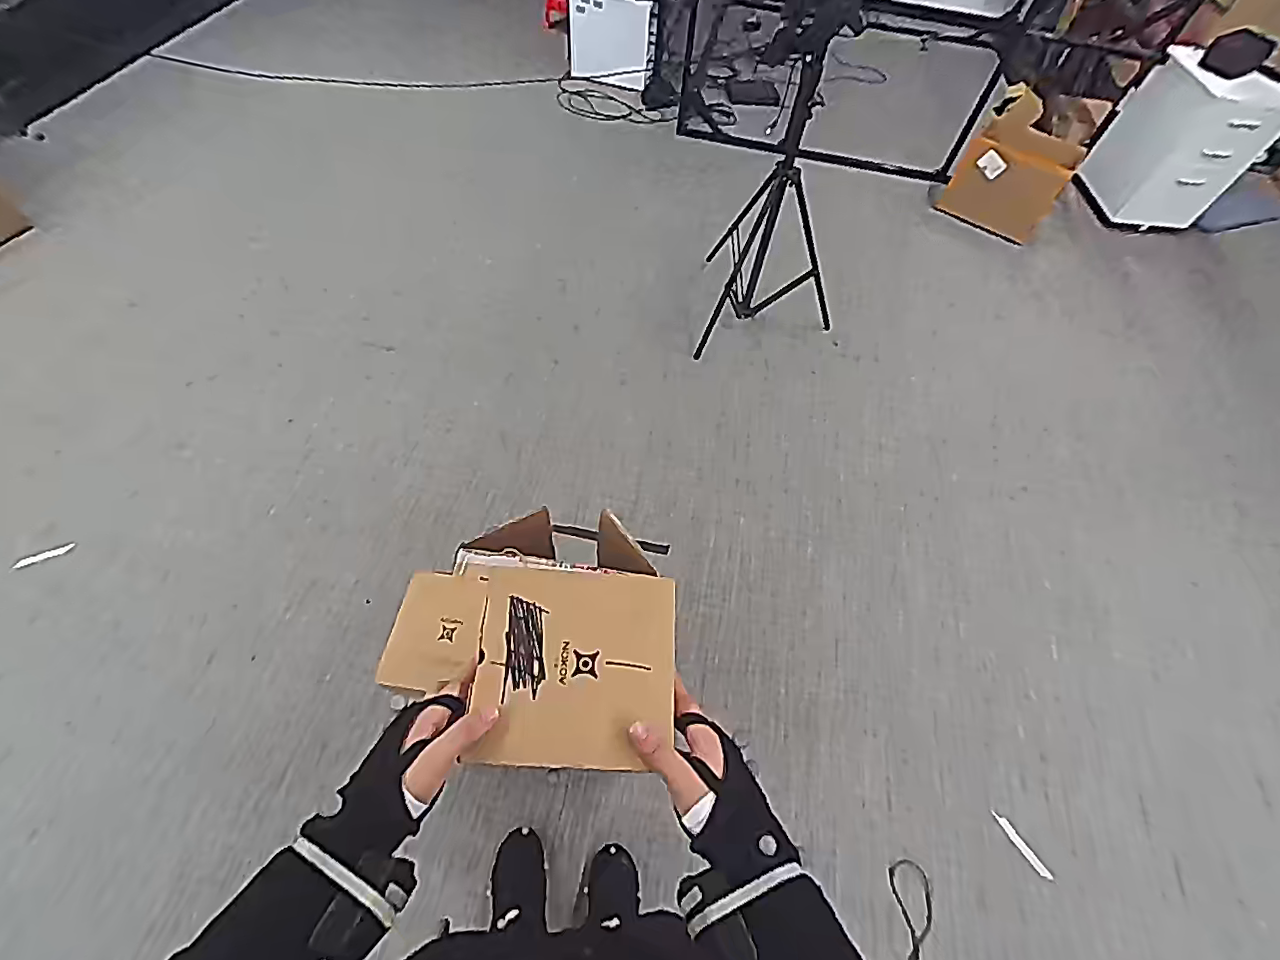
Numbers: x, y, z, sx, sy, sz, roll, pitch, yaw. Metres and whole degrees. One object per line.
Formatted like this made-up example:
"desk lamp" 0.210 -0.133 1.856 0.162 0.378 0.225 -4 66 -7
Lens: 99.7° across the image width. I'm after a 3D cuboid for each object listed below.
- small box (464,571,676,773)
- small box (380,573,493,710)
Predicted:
"small box" -0.061 0.201 0.550 0.179 0.176 0.168 4 62 -4
"small box" -0.285 0.271 0.880 0.168 0.176 0.179 8 62 2
